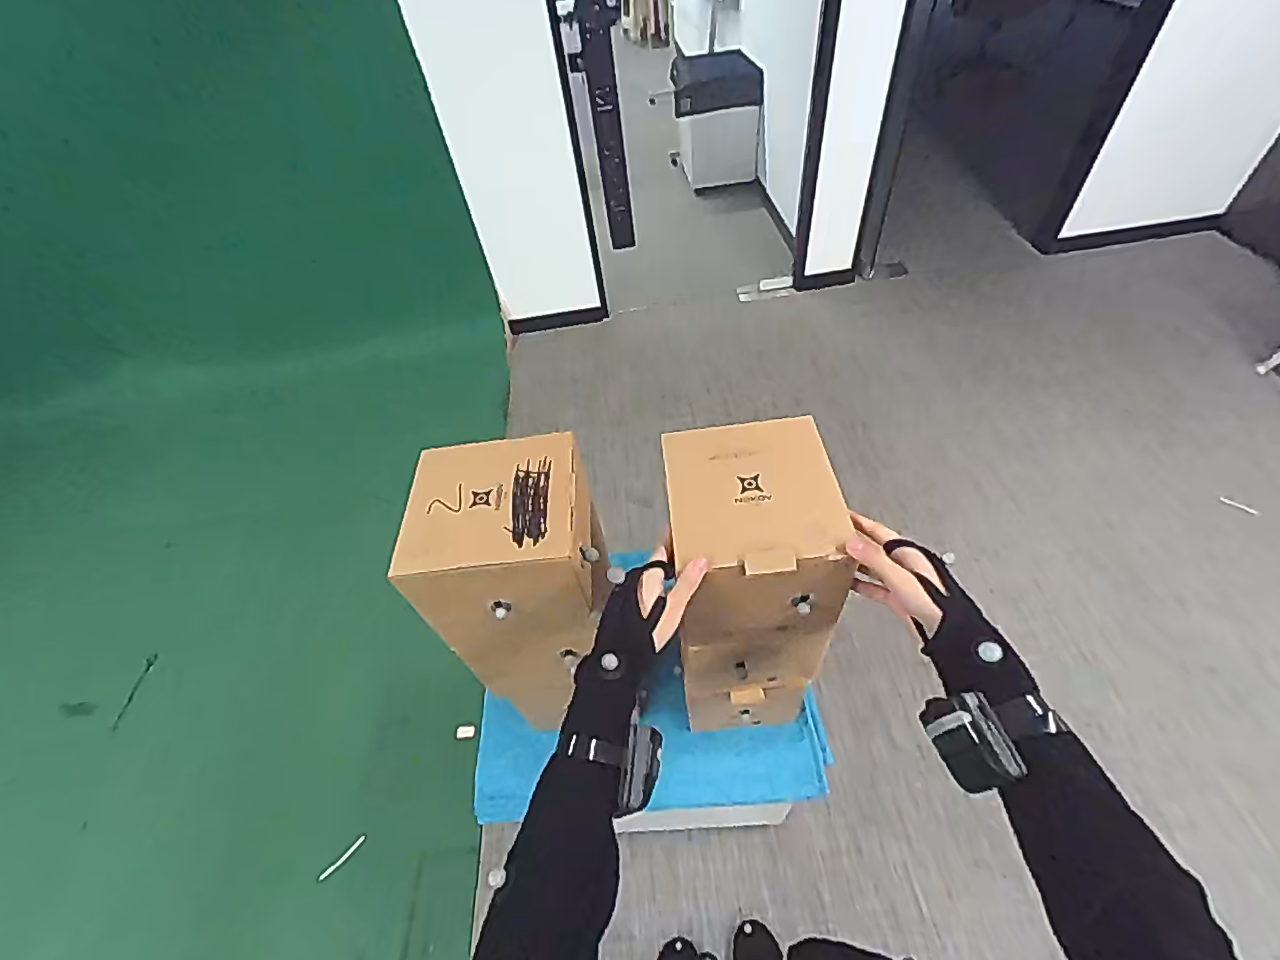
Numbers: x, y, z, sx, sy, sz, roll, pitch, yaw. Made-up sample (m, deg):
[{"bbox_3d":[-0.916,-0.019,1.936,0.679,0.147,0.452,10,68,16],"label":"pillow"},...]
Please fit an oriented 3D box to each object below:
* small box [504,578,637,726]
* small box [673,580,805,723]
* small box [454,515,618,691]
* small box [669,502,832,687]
[{"bbox_3d":[-0.098,0.273,0.851,0.179,0.176,0.168,-7,49,2],"label":"small box"},{"bbox_3d":[0.144,0.261,0.830,0.168,0.176,0.179,-6,50,2],"label":"small box"},{"bbox_3d":[-0.124,0.169,0.727,0.179,0.176,0.168,-7,49,2],"label":"small box"},{"bbox_3d":[0.135,0.157,0.706,0.168,0.176,0.179,-9,49,2],"label":"small box"}]
